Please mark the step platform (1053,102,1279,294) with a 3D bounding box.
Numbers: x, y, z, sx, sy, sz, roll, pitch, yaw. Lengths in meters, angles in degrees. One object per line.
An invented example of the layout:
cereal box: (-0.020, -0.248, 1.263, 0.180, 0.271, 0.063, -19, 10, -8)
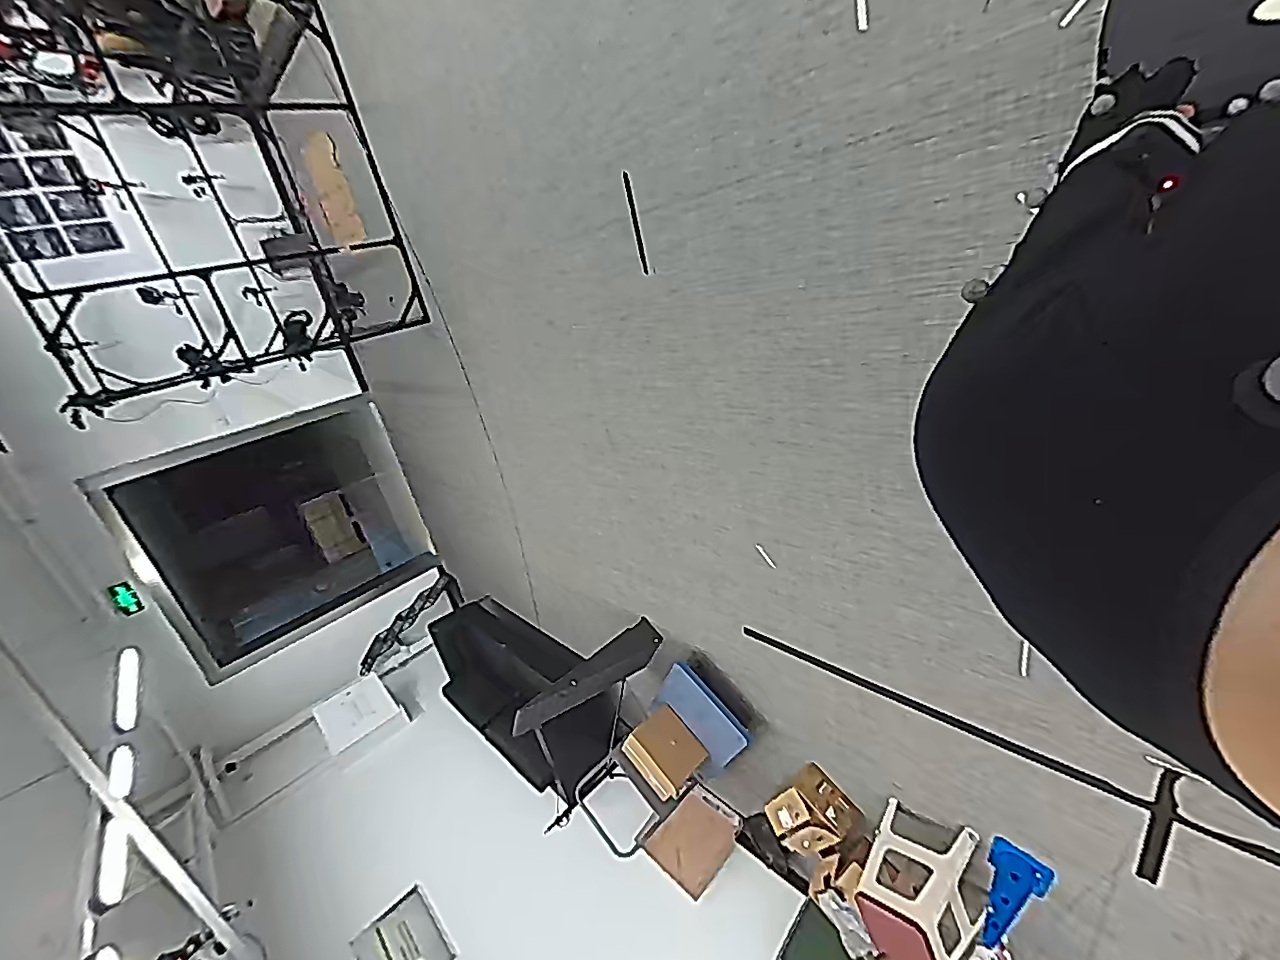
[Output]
step platform: (1.159, -0.520, 0.954, 0.684, 0.204, 0.286, 12, 123, 49)
